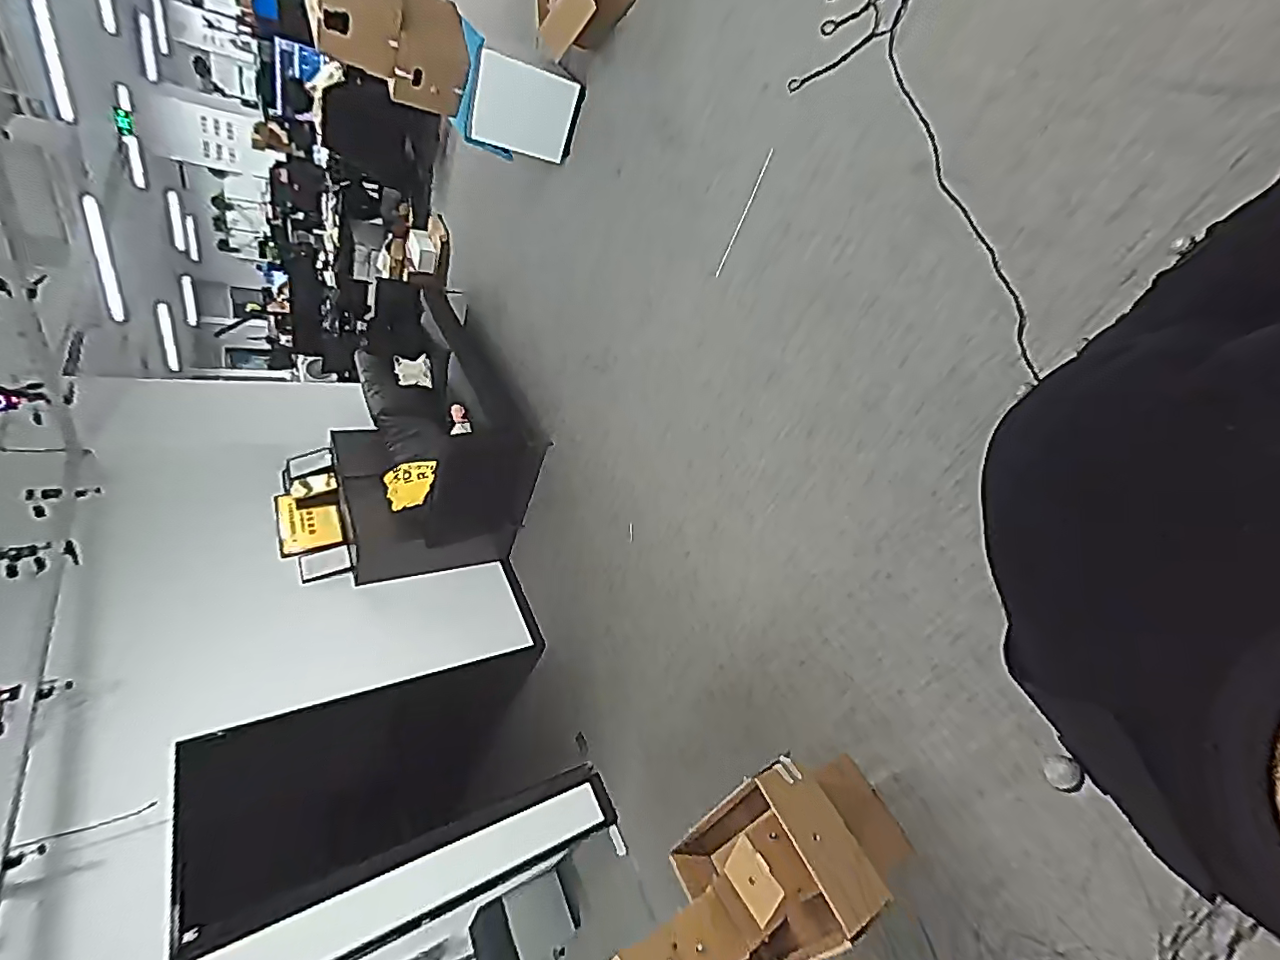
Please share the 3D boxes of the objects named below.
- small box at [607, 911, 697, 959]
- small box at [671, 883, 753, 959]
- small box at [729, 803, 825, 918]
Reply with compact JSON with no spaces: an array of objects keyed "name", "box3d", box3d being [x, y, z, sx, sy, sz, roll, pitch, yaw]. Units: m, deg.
[{"name":"small box","box3d":[0.039,1.297,1.433,0.168,0.176,0.179,51,133,36]},{"name":"small box","box3d":[0.180,1.280,1.519,0.179,0.176,0.168,49,132,38]},{"name":"small box","box3d":[0.379,1.037,1.488,0.168,0.176,0.179,43,128,44]}]
